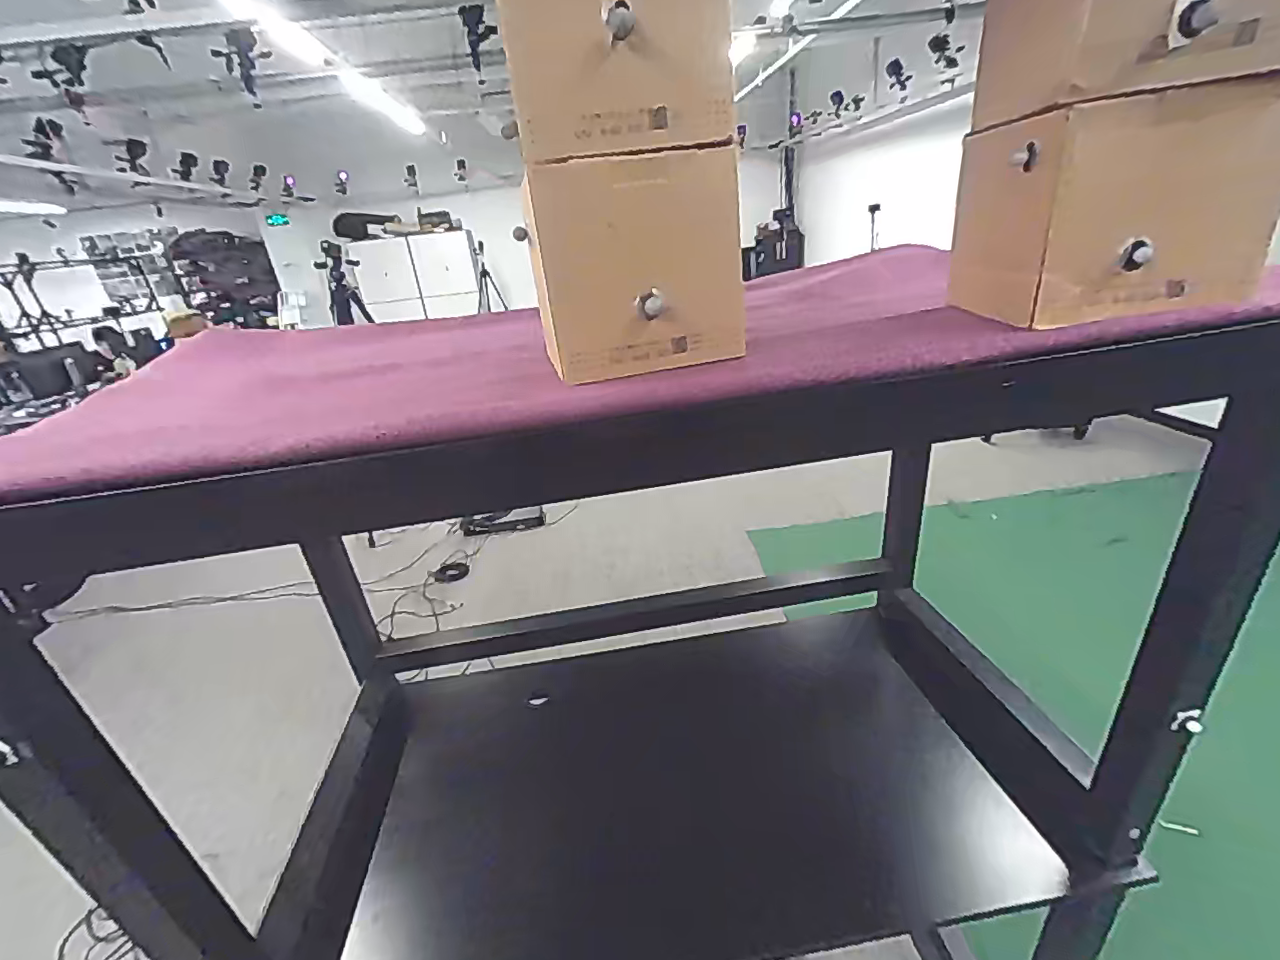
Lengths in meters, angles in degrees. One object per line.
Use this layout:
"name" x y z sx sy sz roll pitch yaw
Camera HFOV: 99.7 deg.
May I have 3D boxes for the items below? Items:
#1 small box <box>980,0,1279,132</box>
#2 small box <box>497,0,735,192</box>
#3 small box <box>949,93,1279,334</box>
"small box" 0.390 -0.377 0.415 0.168 0.176 0.179 -4 27 10
"small box" -0.024 -0.348 0.448 0.168 0.176 0.179 -9 25 -5
"small box" 0.407 -0.235 0.491 0.168 0.176 0.179 -4 26 6
